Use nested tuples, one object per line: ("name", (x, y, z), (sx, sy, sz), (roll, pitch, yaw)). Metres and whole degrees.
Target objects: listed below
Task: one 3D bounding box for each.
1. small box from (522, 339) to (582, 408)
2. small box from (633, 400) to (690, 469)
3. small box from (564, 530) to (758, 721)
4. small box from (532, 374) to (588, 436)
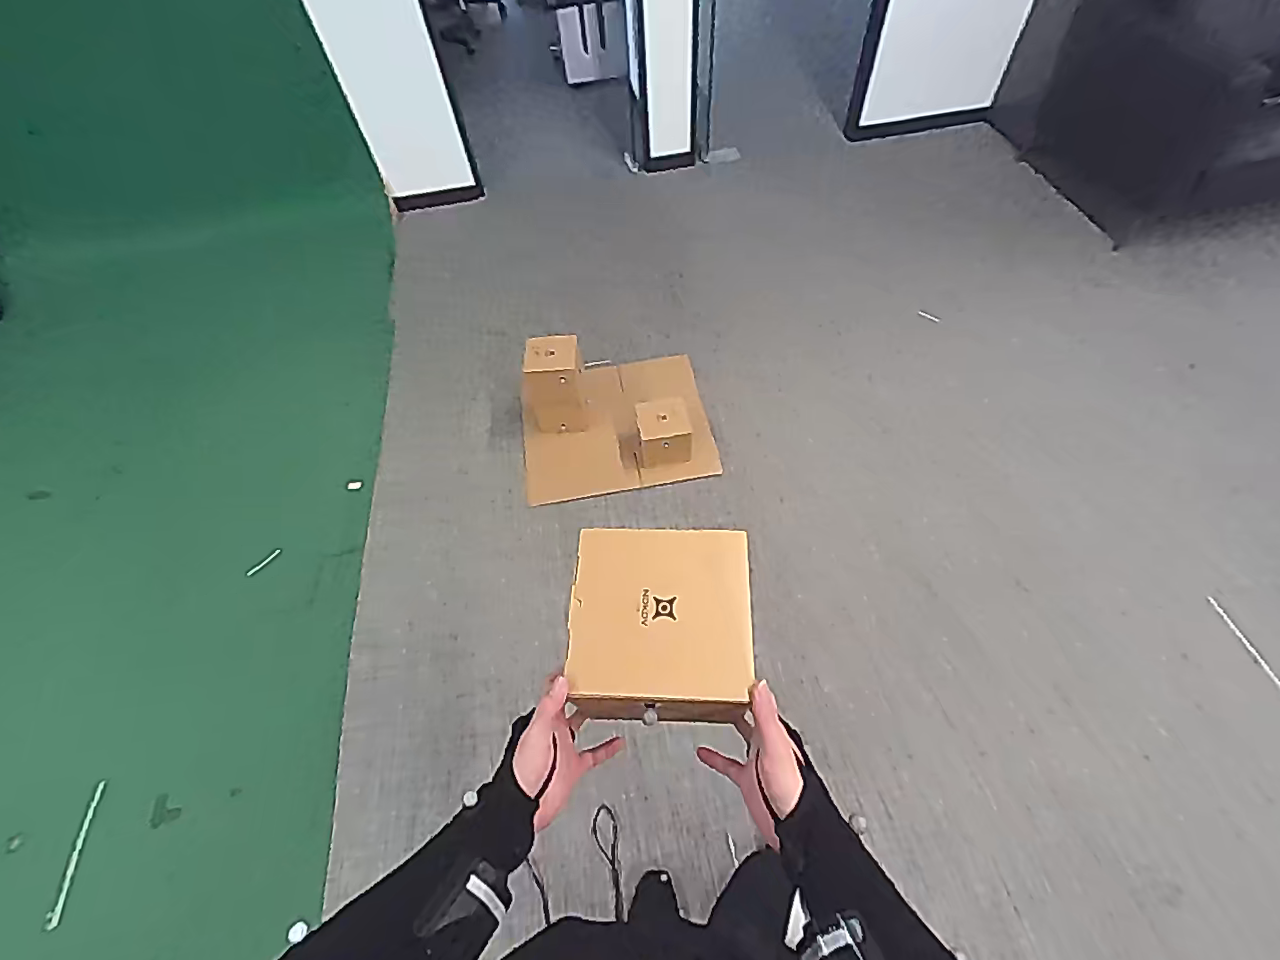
("small box", (-0.297, -0.365, 1.870), (0.179, 0.176, 0.168), (-3, 56, 2))
("small box", (0.079, -0.154, 1.906), (0.179, 0.176, 0.168), (-9, 56, -1))
("small box", (0.026, 0.164, 0.590), (0.179, 0.176, 0.168), (-1, 60, 5))
("small box", (-0.291, -0.278, 2.012), (0.179, 0.176, 0.168), (-3, 56, 2))
